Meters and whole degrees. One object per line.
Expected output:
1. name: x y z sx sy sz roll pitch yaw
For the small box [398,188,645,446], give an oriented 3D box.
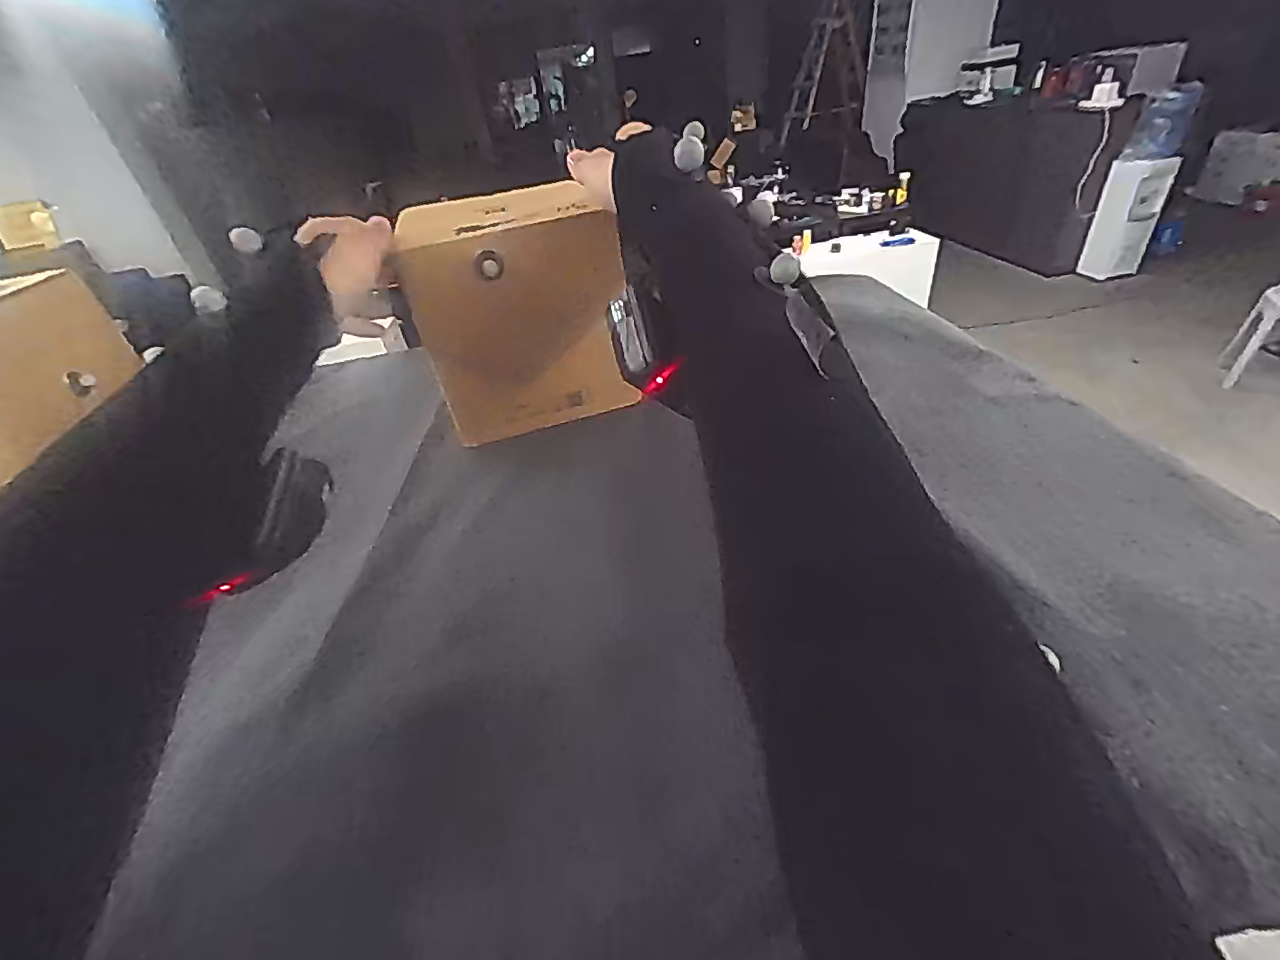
1. small box: -0.103 -0.155 0.499 0.168 0.176 0.179 -16 37 -9
